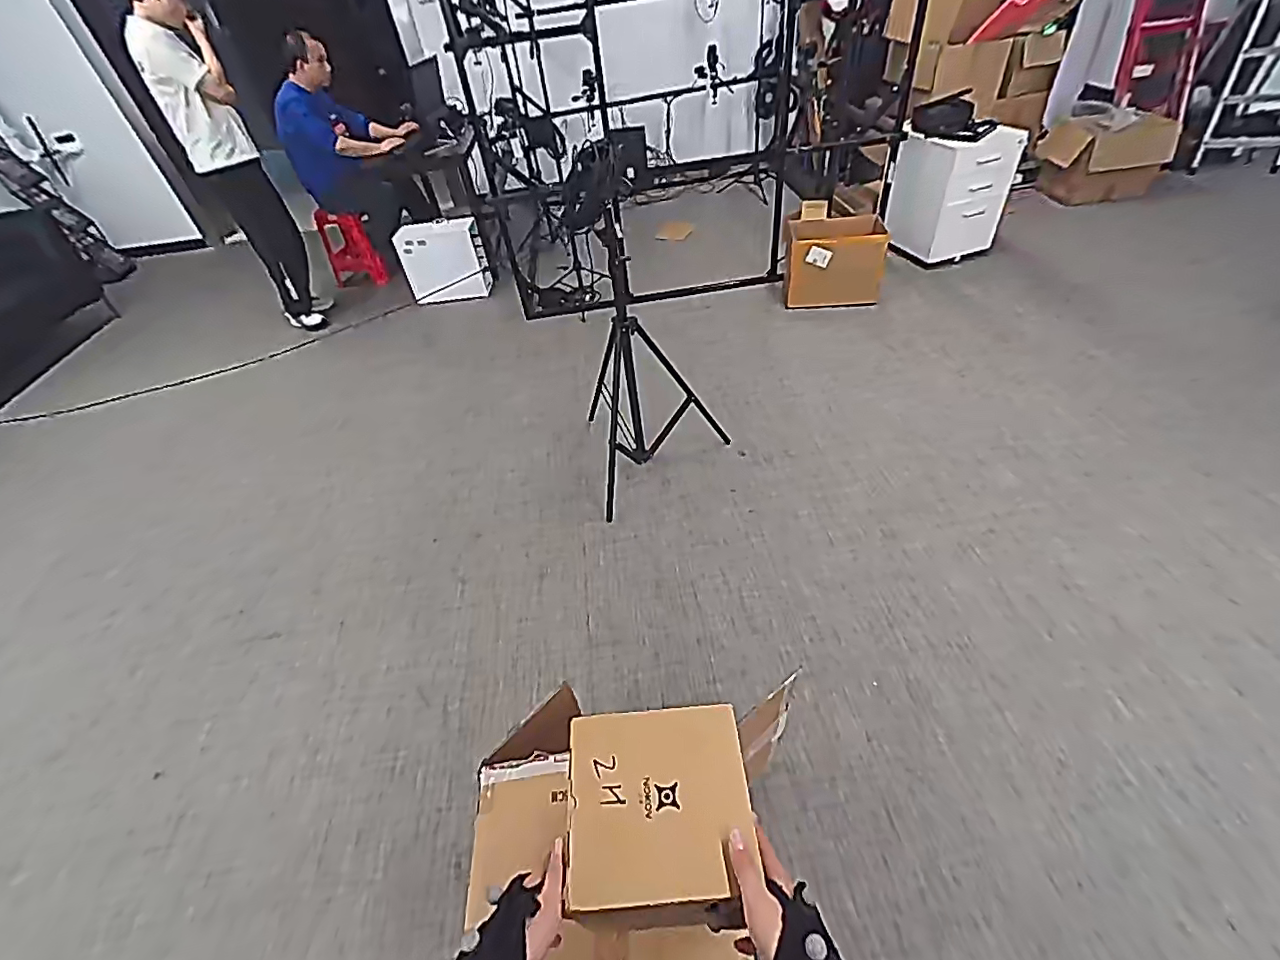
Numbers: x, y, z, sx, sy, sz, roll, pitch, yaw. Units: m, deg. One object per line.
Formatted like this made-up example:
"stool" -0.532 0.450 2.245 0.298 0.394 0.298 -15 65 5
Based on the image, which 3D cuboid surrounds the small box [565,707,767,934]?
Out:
"small box" 0.022 0.359 0.570 0.179 0.176 0.168 -5 44 0
